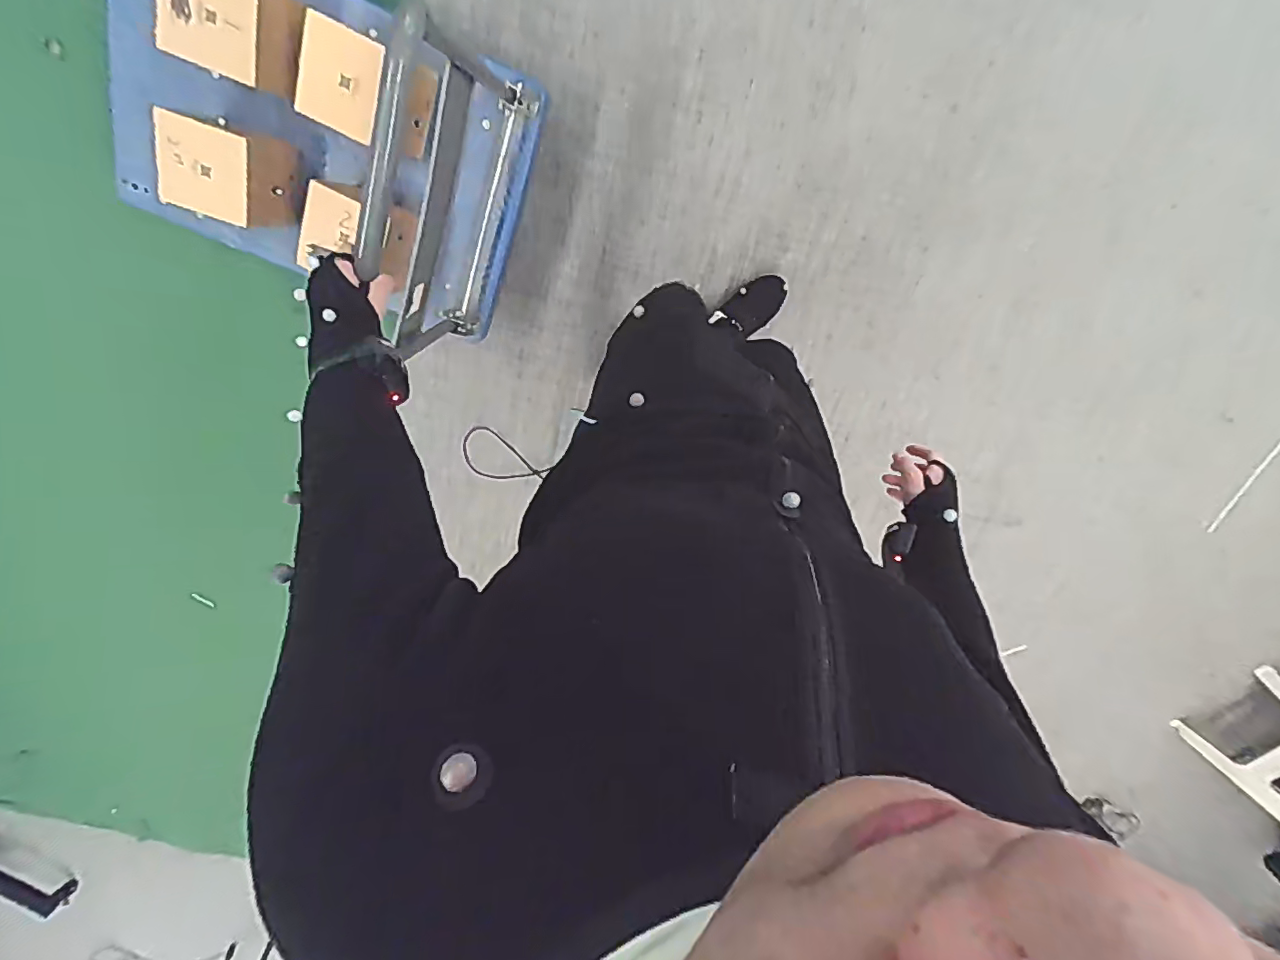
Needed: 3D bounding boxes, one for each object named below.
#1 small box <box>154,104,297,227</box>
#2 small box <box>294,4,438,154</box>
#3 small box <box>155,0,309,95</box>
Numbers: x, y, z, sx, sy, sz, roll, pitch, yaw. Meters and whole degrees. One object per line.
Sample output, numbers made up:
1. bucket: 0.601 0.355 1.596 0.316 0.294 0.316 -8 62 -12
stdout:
1. small box: -0.845 -0.643 1.120 0.179 0.176 0.168 18 115 -6
2. small box: -0.522 -0.756 1.046 0.179 0.176 0.168 23 116 -9
3. small box: -0.749 -0.852 1.009 0.179 0.176 0.168 20 117 -7
